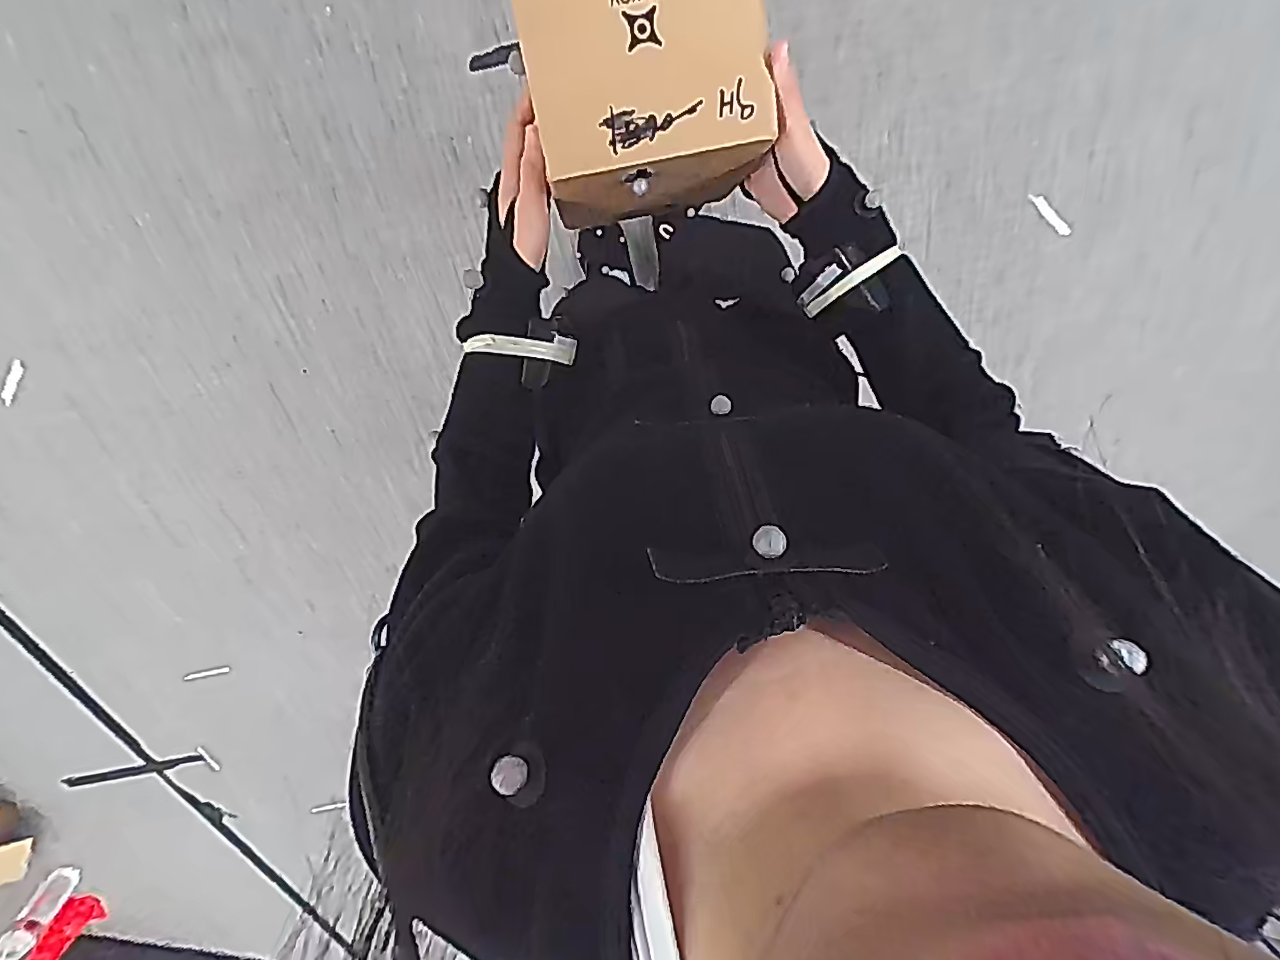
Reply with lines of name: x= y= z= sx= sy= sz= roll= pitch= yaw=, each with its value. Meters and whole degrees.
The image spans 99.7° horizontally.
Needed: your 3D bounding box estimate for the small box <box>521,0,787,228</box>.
small box: x=0.001 y=-0.323 z=0.429 sx=0.168 sy=0.176 sz=0.179 roll=-12 pitch=104 yaw=-1
